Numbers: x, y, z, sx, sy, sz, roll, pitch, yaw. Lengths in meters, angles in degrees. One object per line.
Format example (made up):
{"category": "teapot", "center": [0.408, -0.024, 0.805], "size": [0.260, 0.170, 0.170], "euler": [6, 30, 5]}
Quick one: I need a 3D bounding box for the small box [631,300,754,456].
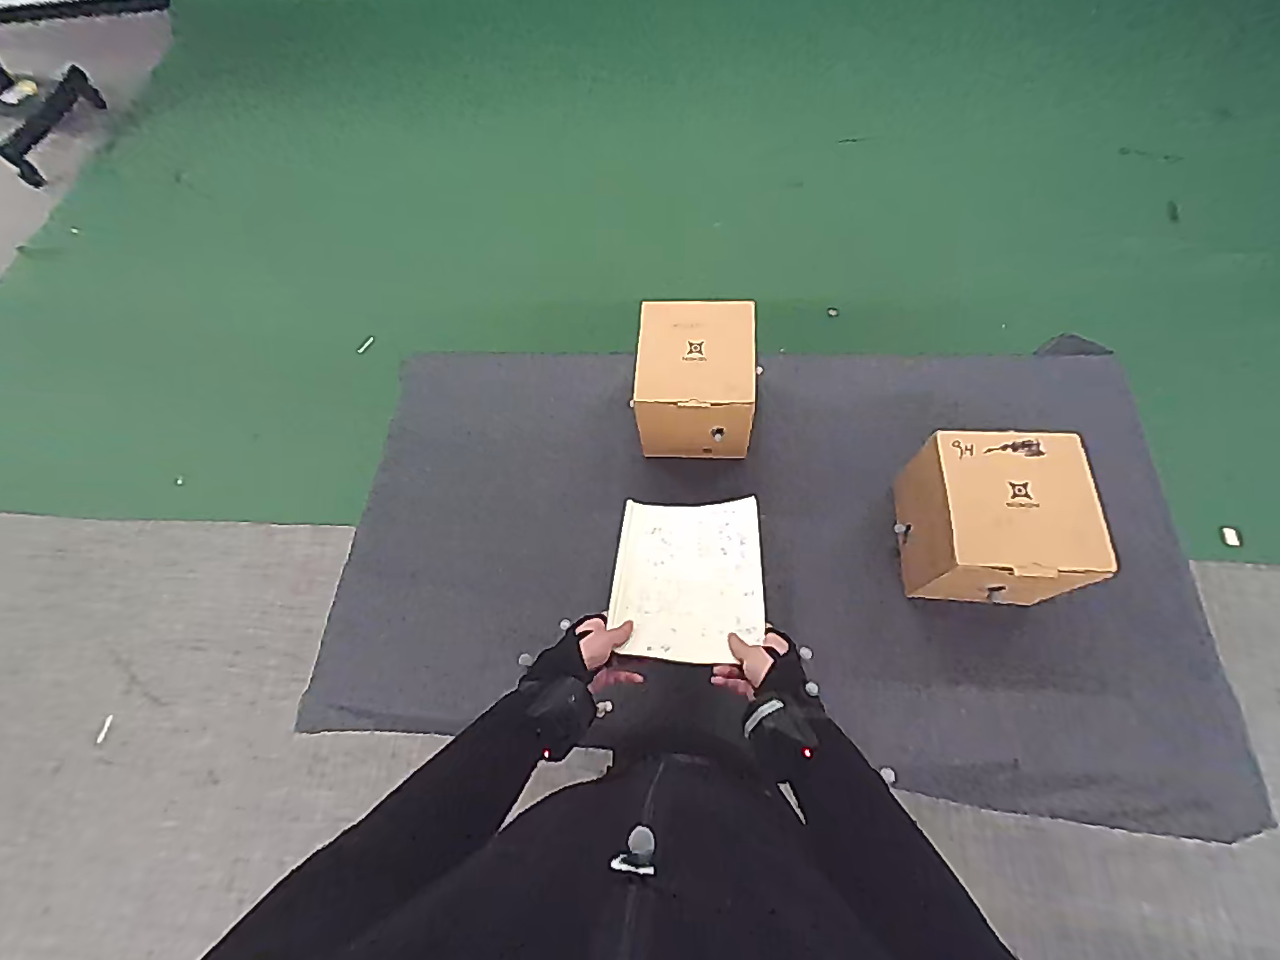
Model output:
{"category": "small box", "center": [0.081, -0.146, 0.816], "size": [0.168, 0.176, 0.179], "euler": [1, 66, 5]}

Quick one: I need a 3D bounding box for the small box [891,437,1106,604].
{"category": "small box", "center": [0.445, 0.060, 0.705], "size": [0.168, 0.176, 0.179], "euler": [2, 68, 6]}
